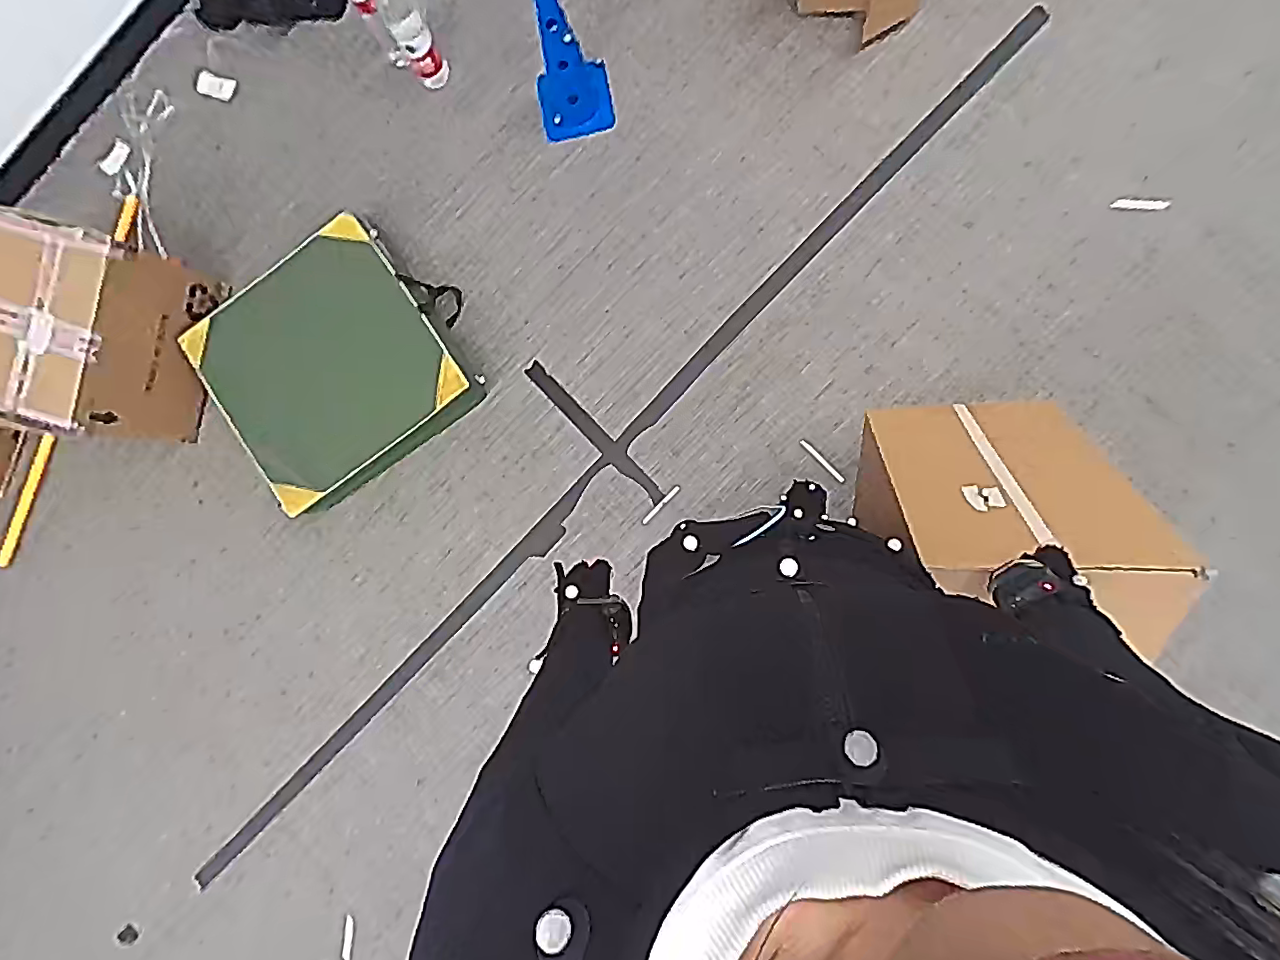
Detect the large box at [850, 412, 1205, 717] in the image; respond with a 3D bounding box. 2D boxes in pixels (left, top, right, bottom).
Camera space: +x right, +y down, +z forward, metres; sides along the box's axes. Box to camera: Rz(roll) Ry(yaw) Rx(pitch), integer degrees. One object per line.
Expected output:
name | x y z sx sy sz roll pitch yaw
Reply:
large box | 0.561 0.121 0.906 0.320 0.408 0.320 -2 127 11
